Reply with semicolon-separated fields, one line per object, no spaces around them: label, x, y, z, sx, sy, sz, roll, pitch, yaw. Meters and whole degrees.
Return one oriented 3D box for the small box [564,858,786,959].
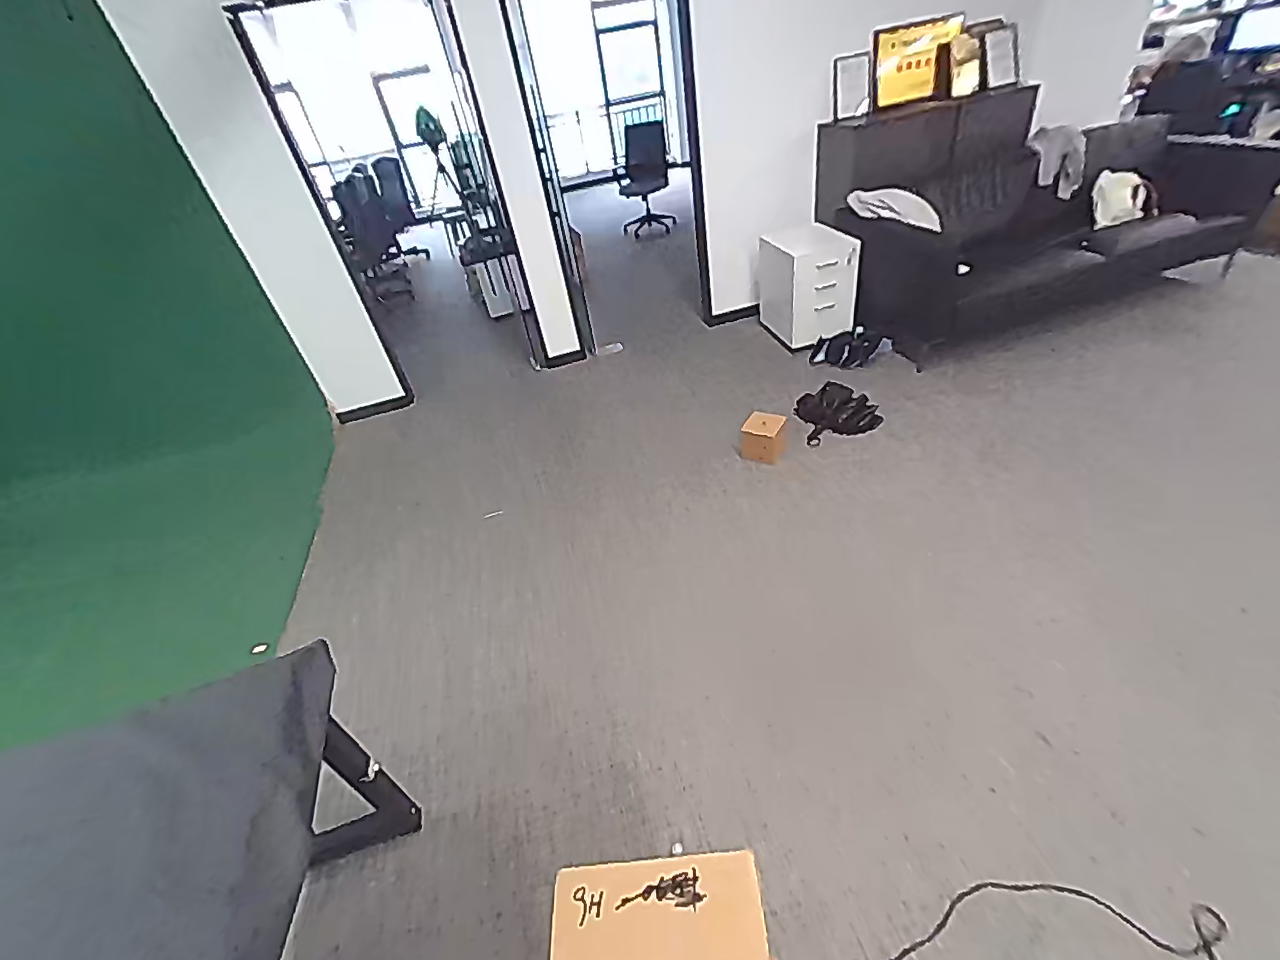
small box;0.040;0.428;0.426;0.168;0.176;0.179;-10;42;5
